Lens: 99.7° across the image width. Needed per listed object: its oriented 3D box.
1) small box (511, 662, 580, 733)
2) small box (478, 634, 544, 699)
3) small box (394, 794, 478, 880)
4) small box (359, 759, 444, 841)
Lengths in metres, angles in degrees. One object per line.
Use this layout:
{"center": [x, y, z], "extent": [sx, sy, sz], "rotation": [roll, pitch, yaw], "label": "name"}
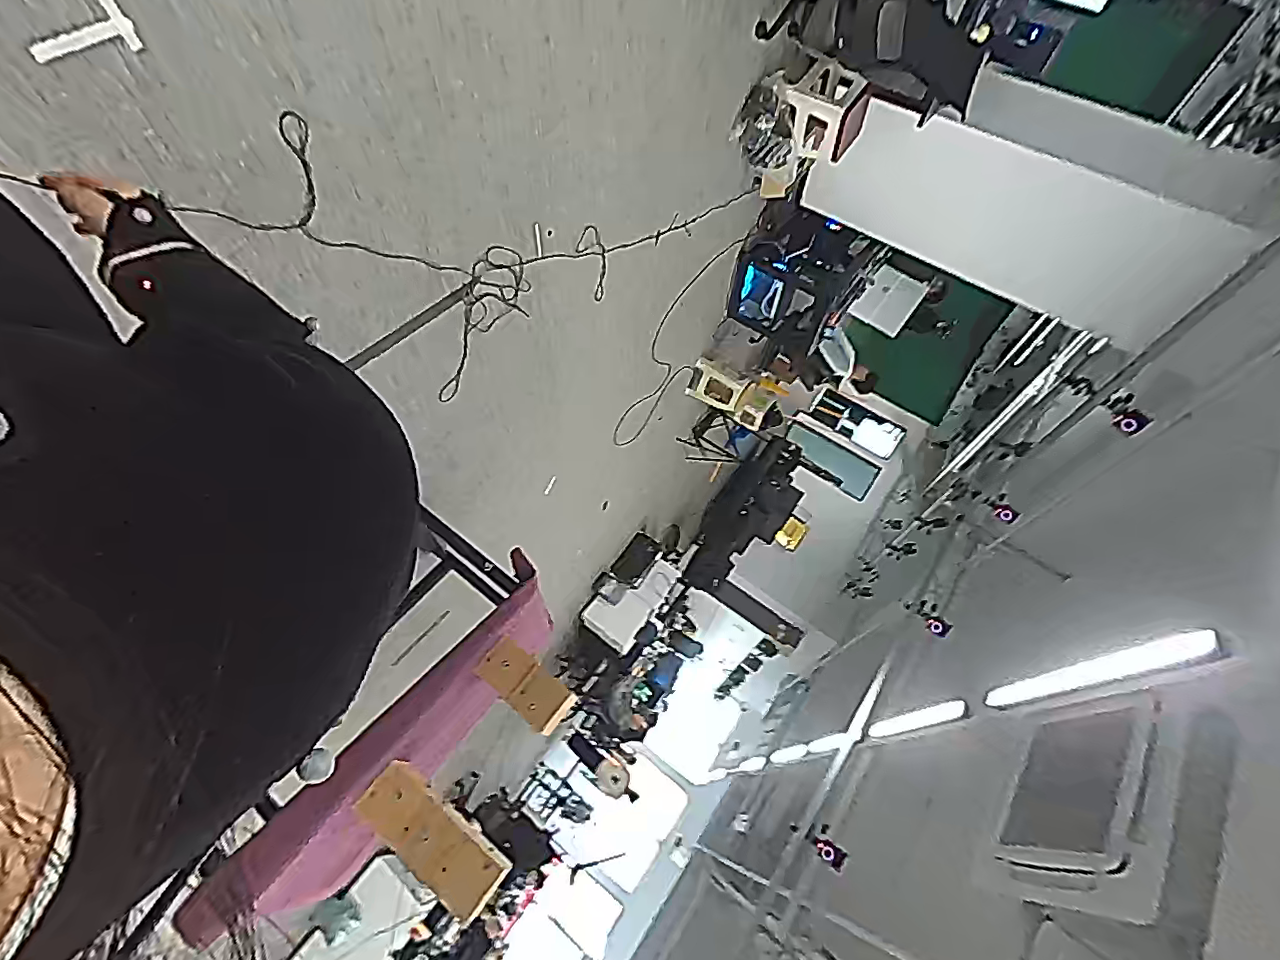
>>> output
{"center": [-0.337, 0.773, 1.924], "extent": [0.168, 0.176, 0.179], "rotation": [-49, 163, -20], "label": "small box"}
{"center": [-0.465, 0.687, 1.977], "extent": [0.168, 0.176, 0.179], "rotation": [-49, 163, -22], "label": "small box"}
{"center": [-0.651, 1.135, 1.731], "extent": [0.168, 0.176, 0.179], "rotation": [-48, 162, -27], "label": "small box"}
{"center": [-0.781, 1.045, 1.773], "extent": [0.168, 0.176, 0.179], "rotation": [-48, 163, -26], "label": "small box"}
